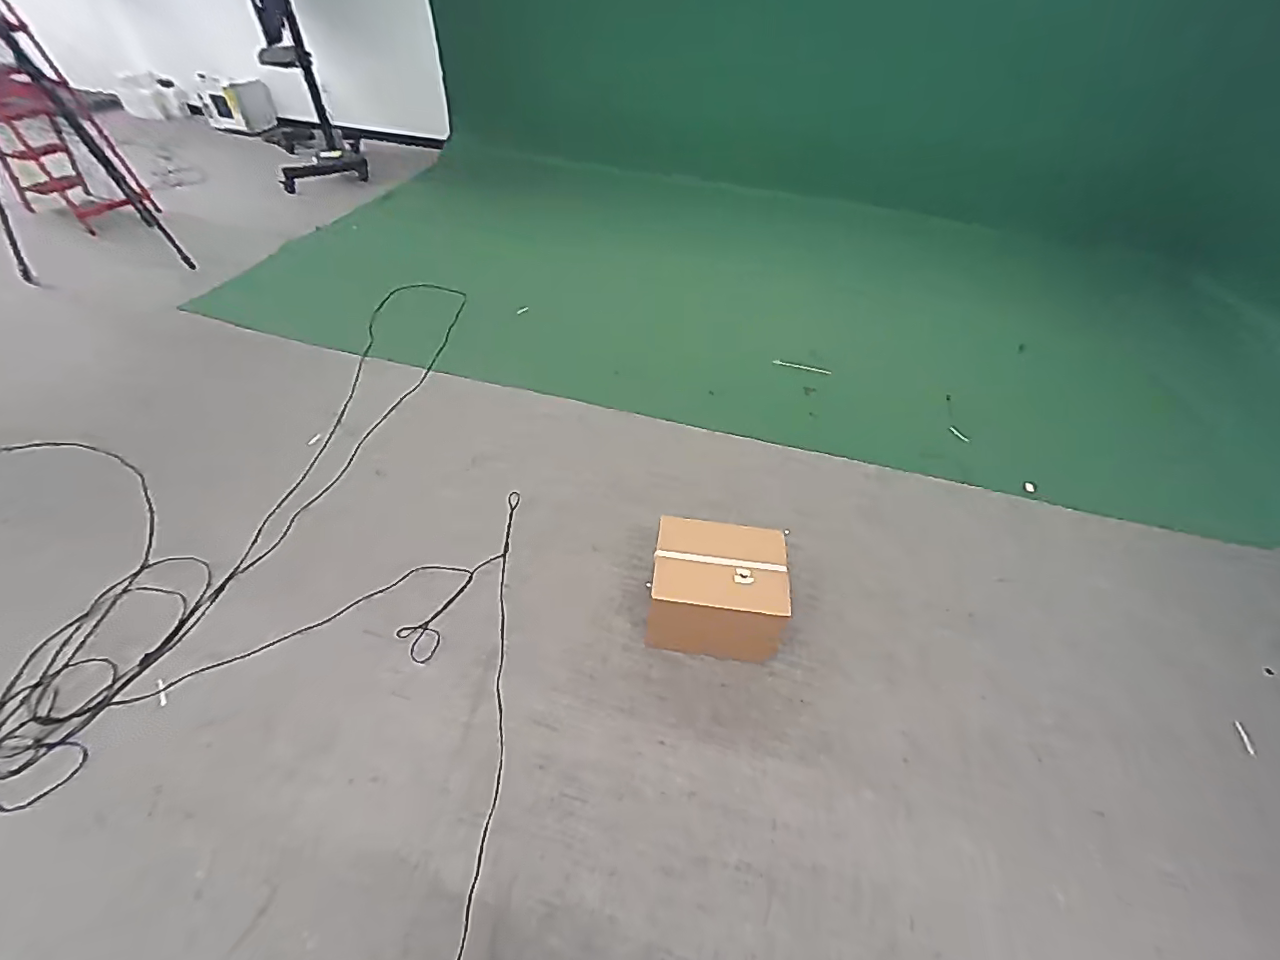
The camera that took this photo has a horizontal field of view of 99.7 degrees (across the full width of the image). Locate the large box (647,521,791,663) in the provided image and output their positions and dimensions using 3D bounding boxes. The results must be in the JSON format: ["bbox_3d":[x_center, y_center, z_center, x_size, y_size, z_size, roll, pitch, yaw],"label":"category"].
[{"bbox_3d":[0.240,0.364,1.751,0.408,0.320,0.320,7,47,3],"label":"large box"}]
